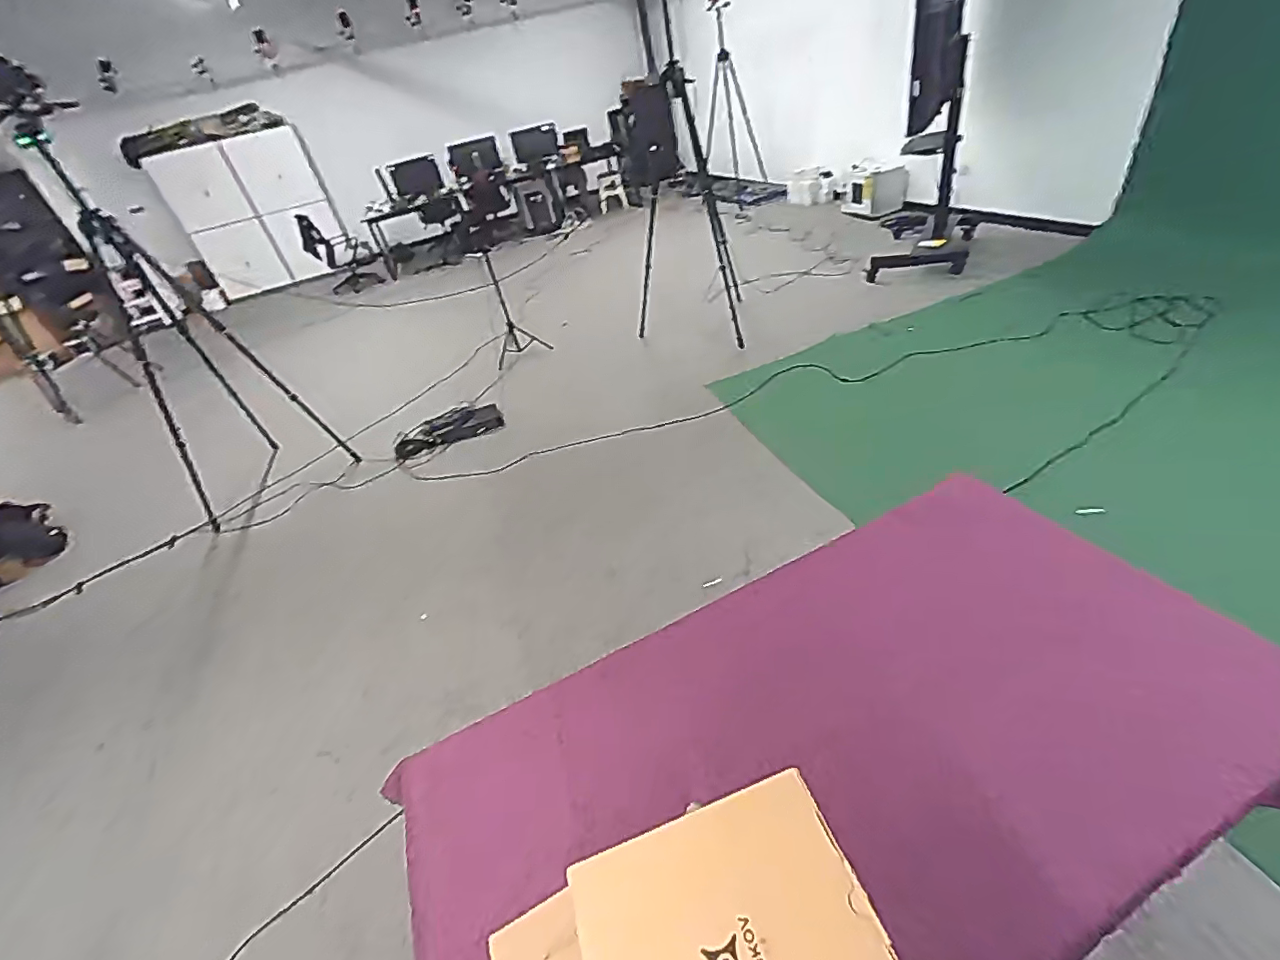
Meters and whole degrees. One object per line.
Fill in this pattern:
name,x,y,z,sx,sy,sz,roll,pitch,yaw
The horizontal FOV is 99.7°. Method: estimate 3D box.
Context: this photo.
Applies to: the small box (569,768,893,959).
small box,0.069,0.341,0.370,0.179,0.176,0.168,-19,40,-6
